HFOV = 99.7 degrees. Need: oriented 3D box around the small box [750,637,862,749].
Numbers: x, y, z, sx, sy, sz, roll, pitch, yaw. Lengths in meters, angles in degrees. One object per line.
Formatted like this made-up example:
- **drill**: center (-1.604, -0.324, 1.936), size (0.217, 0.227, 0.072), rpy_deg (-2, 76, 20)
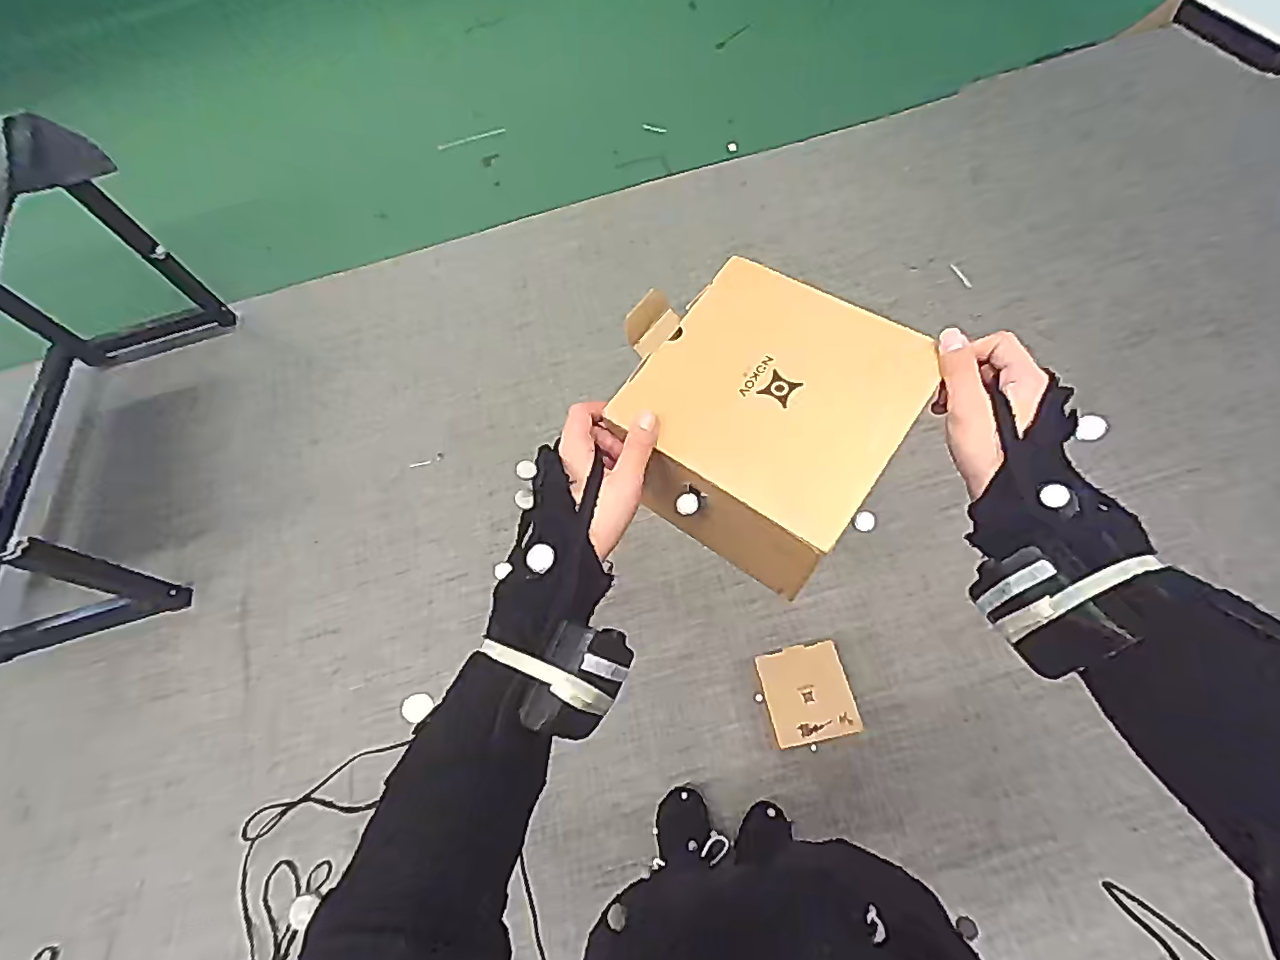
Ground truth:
- **small box**: center (0.334, 0.450, 1.131), size (0.168, 0.176, 0.179), rpy_deg (-13, 60, 1)
